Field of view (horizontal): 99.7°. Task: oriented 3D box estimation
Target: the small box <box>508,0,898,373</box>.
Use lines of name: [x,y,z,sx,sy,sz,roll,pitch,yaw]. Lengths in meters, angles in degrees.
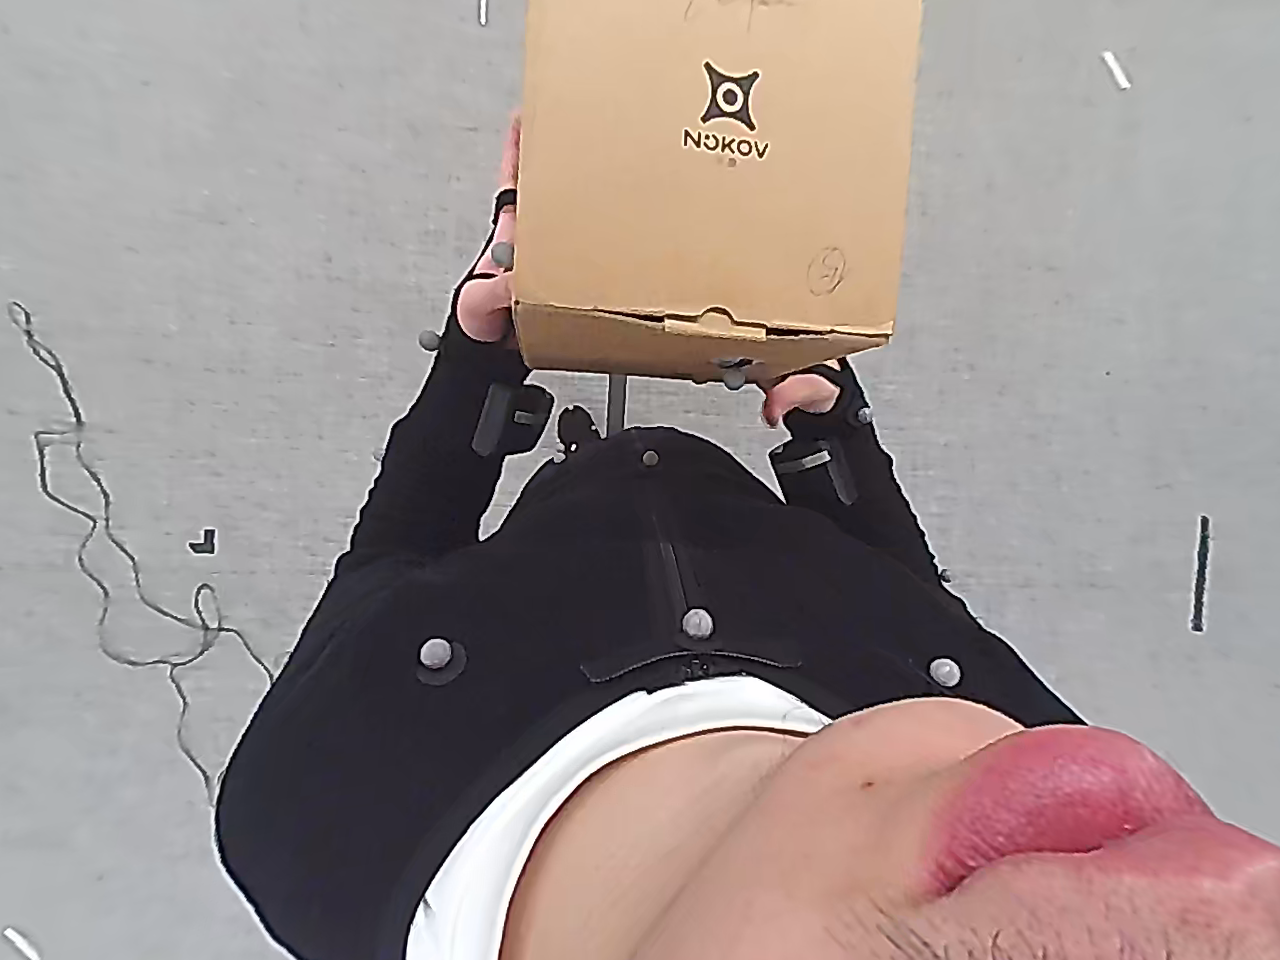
small box: [0.016,-0.161,0.309,0.168,0.176,0.179,2,93,-11]
